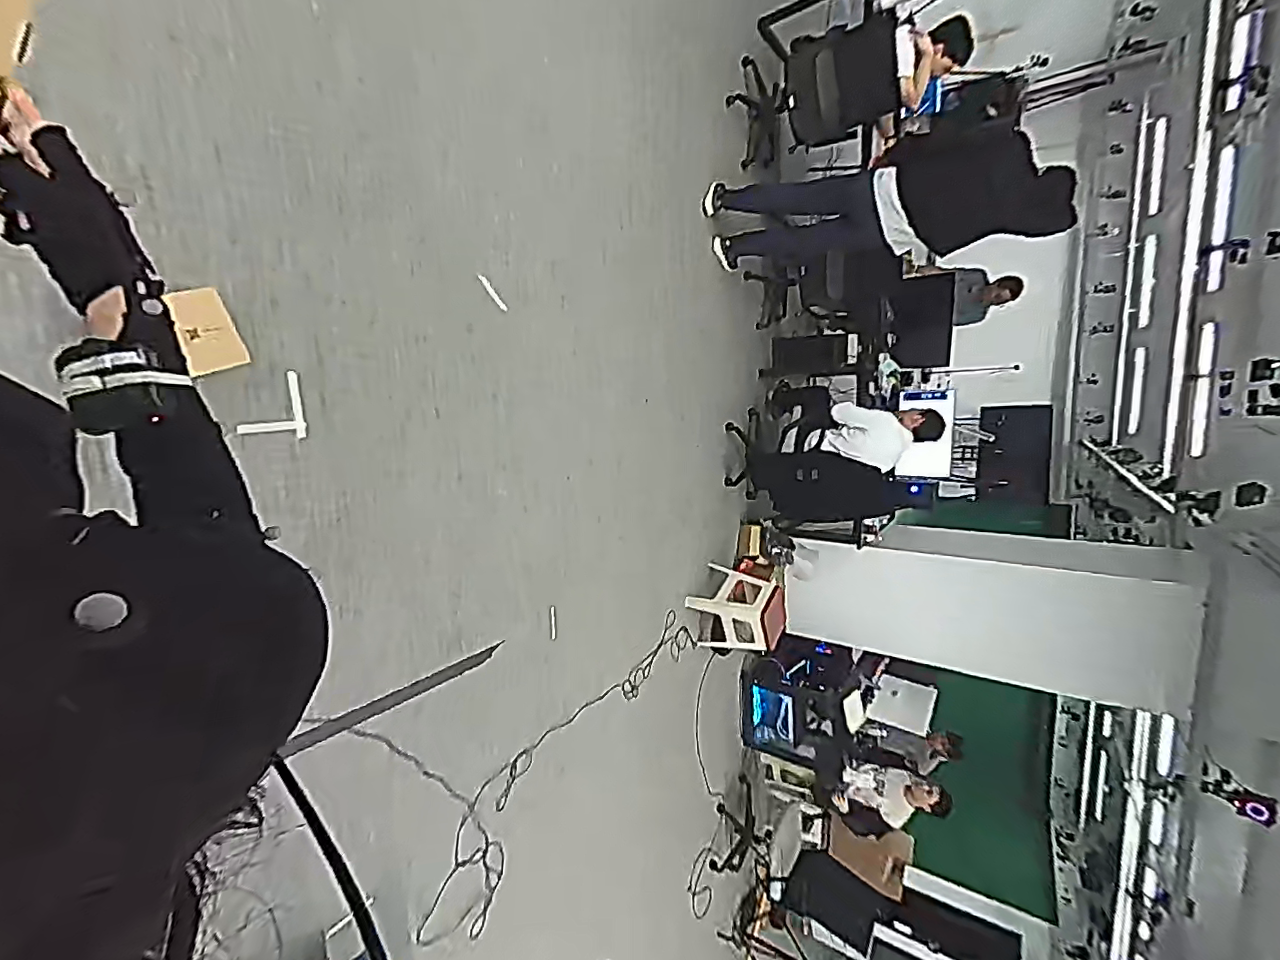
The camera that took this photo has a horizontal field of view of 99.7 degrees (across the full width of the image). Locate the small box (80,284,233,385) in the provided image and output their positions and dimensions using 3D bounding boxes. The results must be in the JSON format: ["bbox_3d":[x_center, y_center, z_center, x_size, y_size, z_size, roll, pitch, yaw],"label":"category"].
[{"bbox_3d":[-1.015,-0.302,1.133,0.179,0.176,0.168,-40,125,-48],"label":"small box"}]
